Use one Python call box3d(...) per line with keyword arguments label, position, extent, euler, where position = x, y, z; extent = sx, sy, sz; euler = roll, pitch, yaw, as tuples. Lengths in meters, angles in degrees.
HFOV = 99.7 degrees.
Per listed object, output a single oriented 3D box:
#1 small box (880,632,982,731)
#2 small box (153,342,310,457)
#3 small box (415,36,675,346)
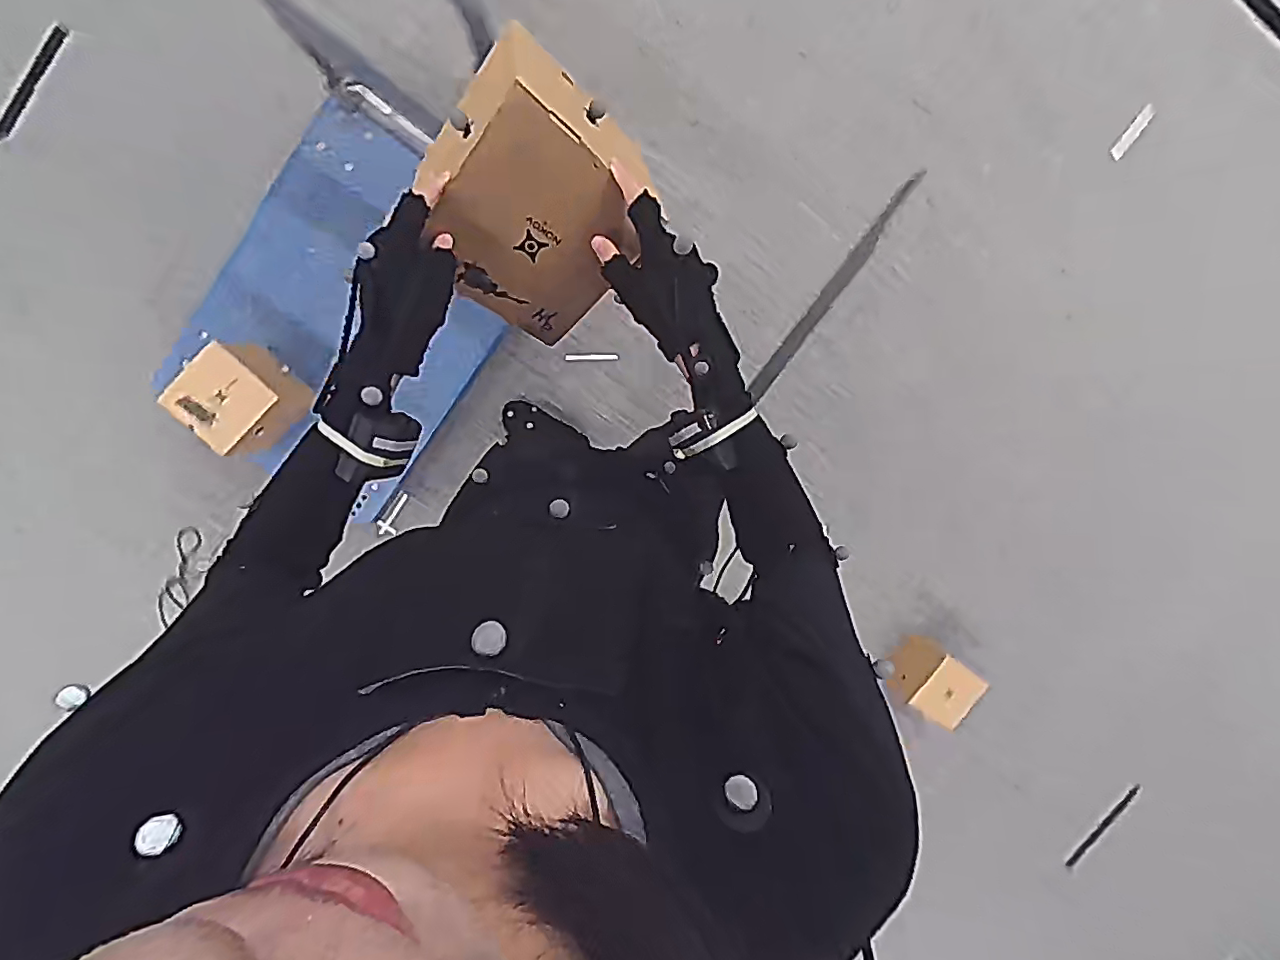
box3d(label="small box", position=(0.840, 0.585, 1.590), extent=(0.168, 0.176, 0.179), euler=(34, 95, -9))
box3d(label="small box", position=(-0.866, -0.171, 1.169), extent=(0.179, 0.176, 0.168), euler=(-44, 99, 3))
box3d(label="small box", position=(-0.096, -0.275, 0.527), extent=(0.179, 0.176, 0.168), euler=(-37, 135, 28))
